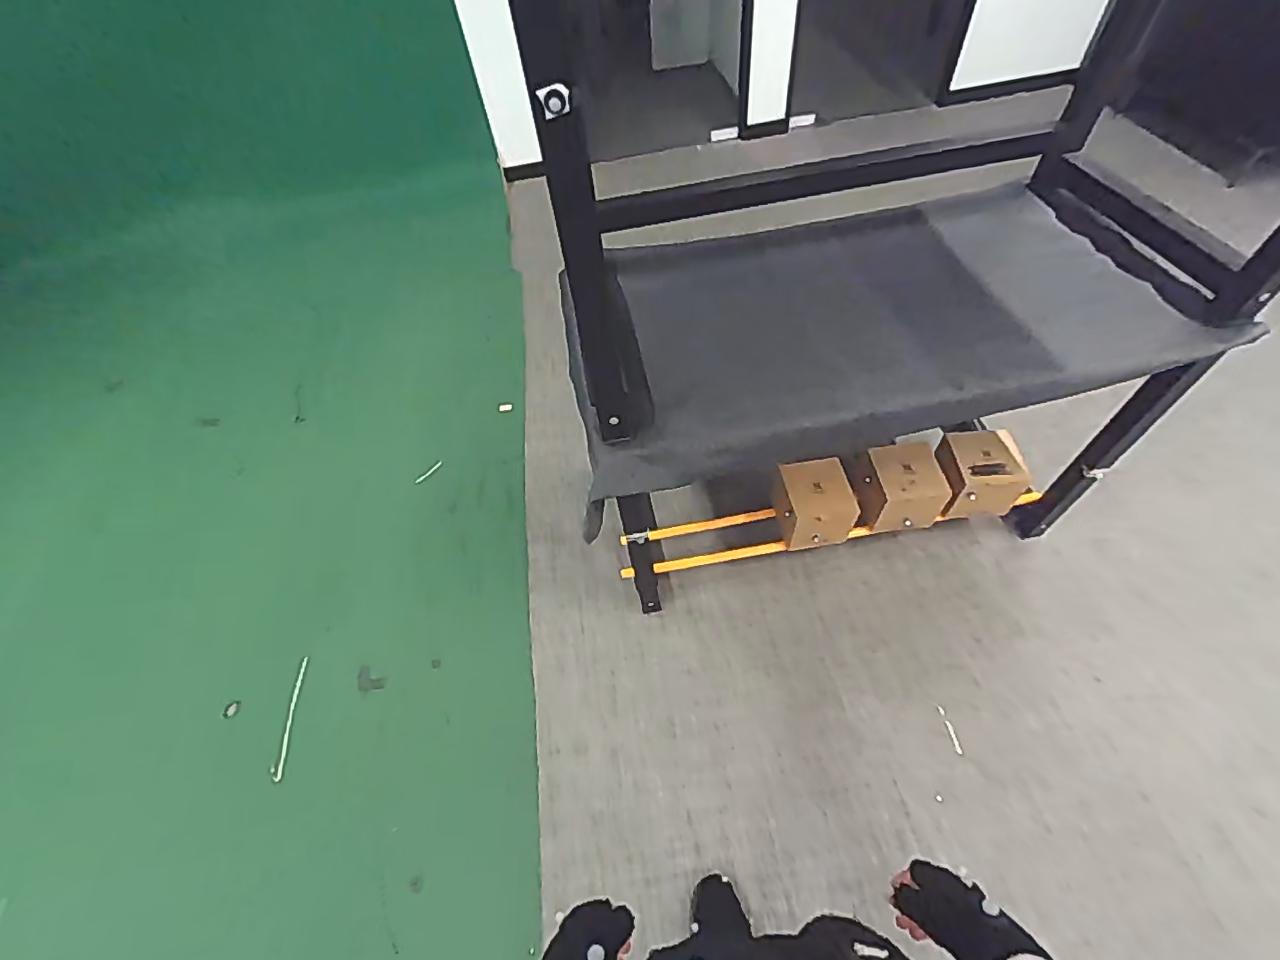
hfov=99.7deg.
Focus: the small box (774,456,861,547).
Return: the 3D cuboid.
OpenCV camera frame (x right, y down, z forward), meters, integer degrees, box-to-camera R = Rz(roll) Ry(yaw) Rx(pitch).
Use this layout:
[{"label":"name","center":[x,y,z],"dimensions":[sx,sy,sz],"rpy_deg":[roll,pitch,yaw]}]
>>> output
[{"label":"small box","center":[0.472,0.060,1.471],"dimensions":[0.168,0.176,0.179],"rpy_deg":[-9,56,0]}]
